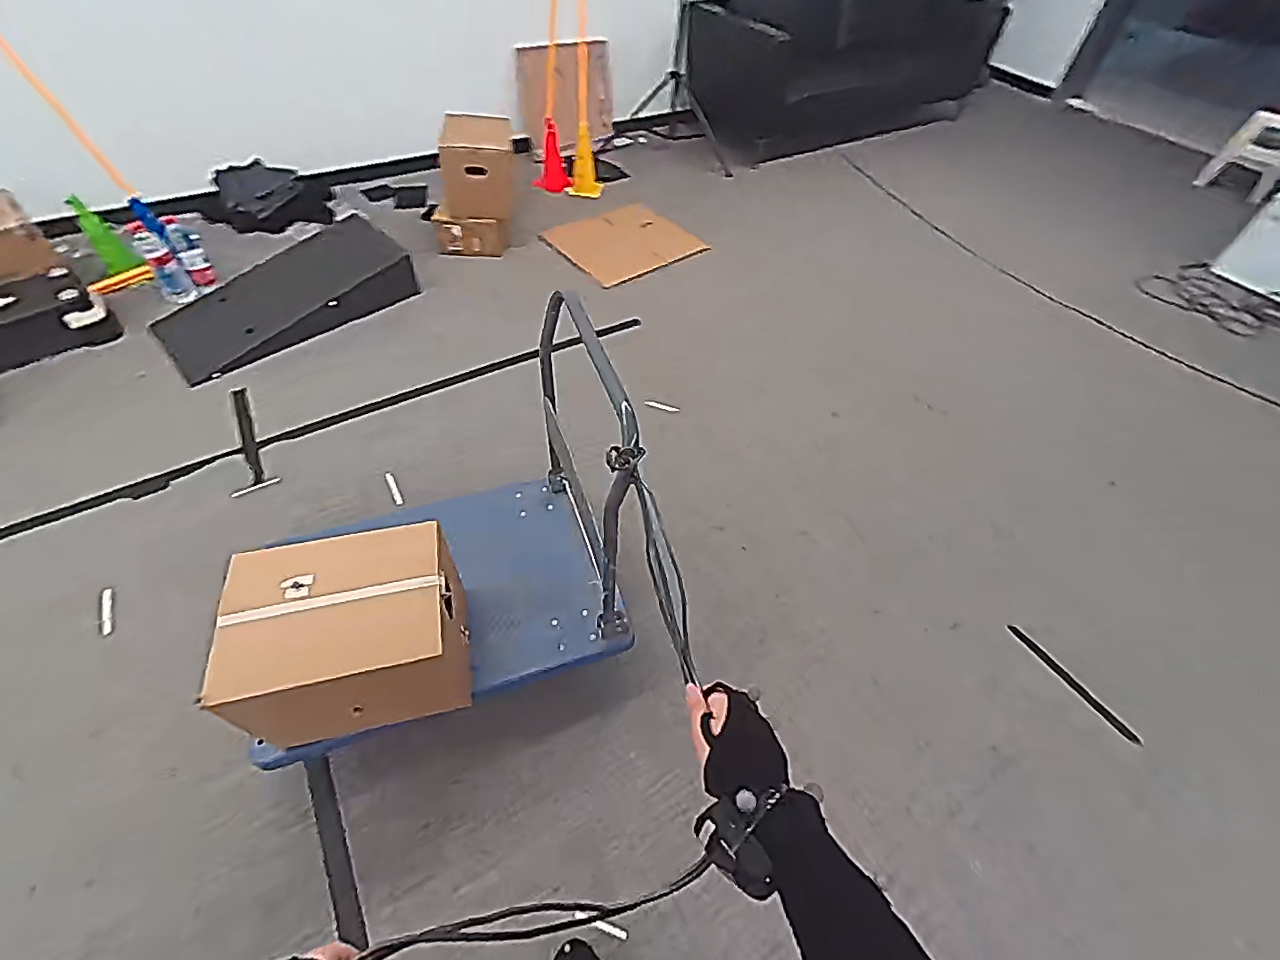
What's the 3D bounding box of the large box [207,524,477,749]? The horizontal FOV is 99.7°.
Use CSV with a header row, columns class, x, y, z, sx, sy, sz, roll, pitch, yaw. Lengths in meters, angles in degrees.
class,x,y,z,sx,sy,sz,roll,pitch,yaw
large box,-0.593,0.337,1.163,0.408,0.320,0.320,-10,52,-11
